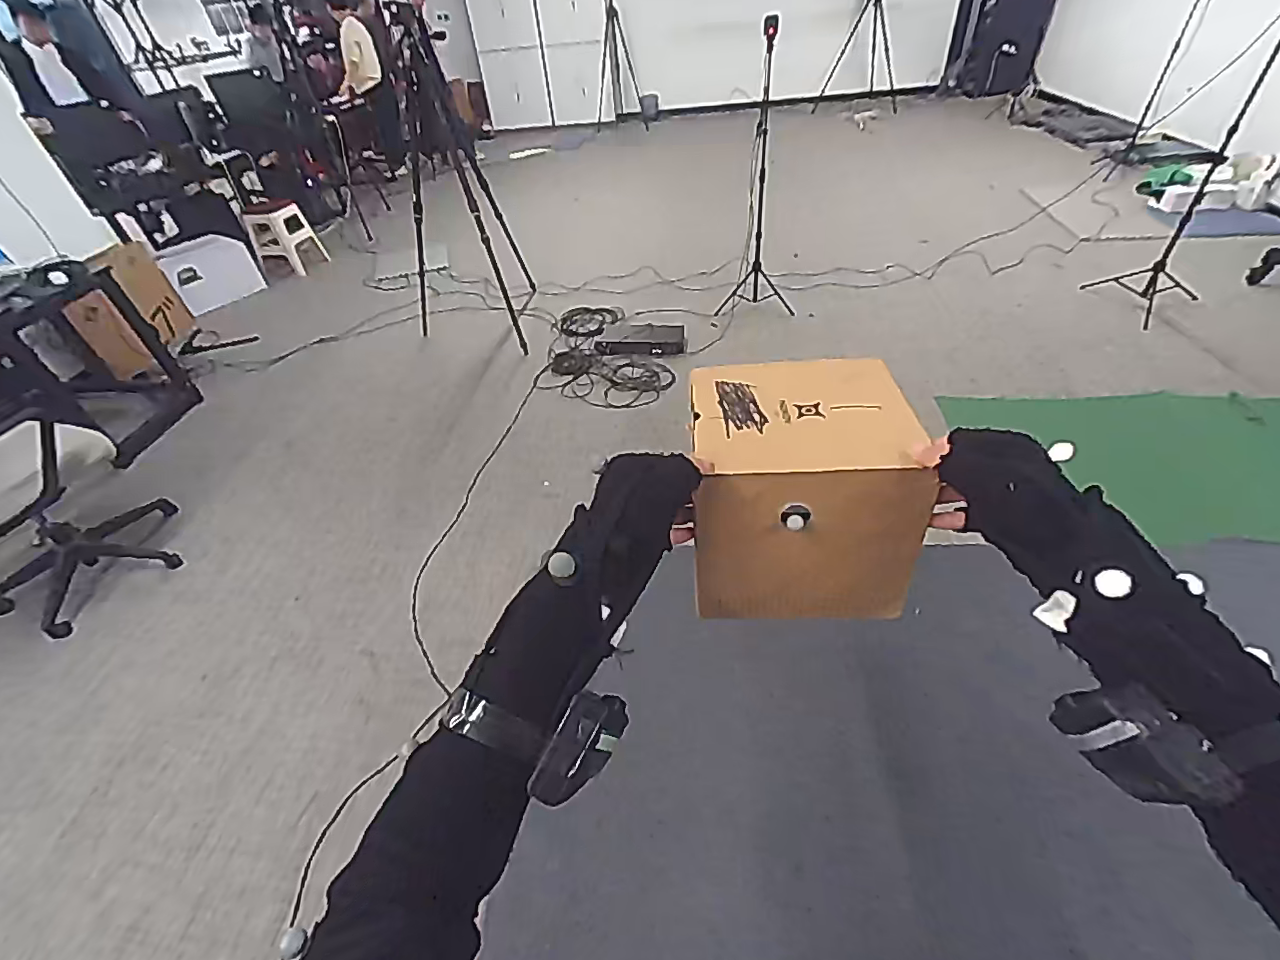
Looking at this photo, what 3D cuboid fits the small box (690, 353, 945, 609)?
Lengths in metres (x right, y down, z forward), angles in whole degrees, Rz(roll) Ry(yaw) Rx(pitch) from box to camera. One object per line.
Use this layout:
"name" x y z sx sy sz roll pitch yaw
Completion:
"small box" 0.139 0.003 0.489 0.179 0.176 0.168 -3 40 7
